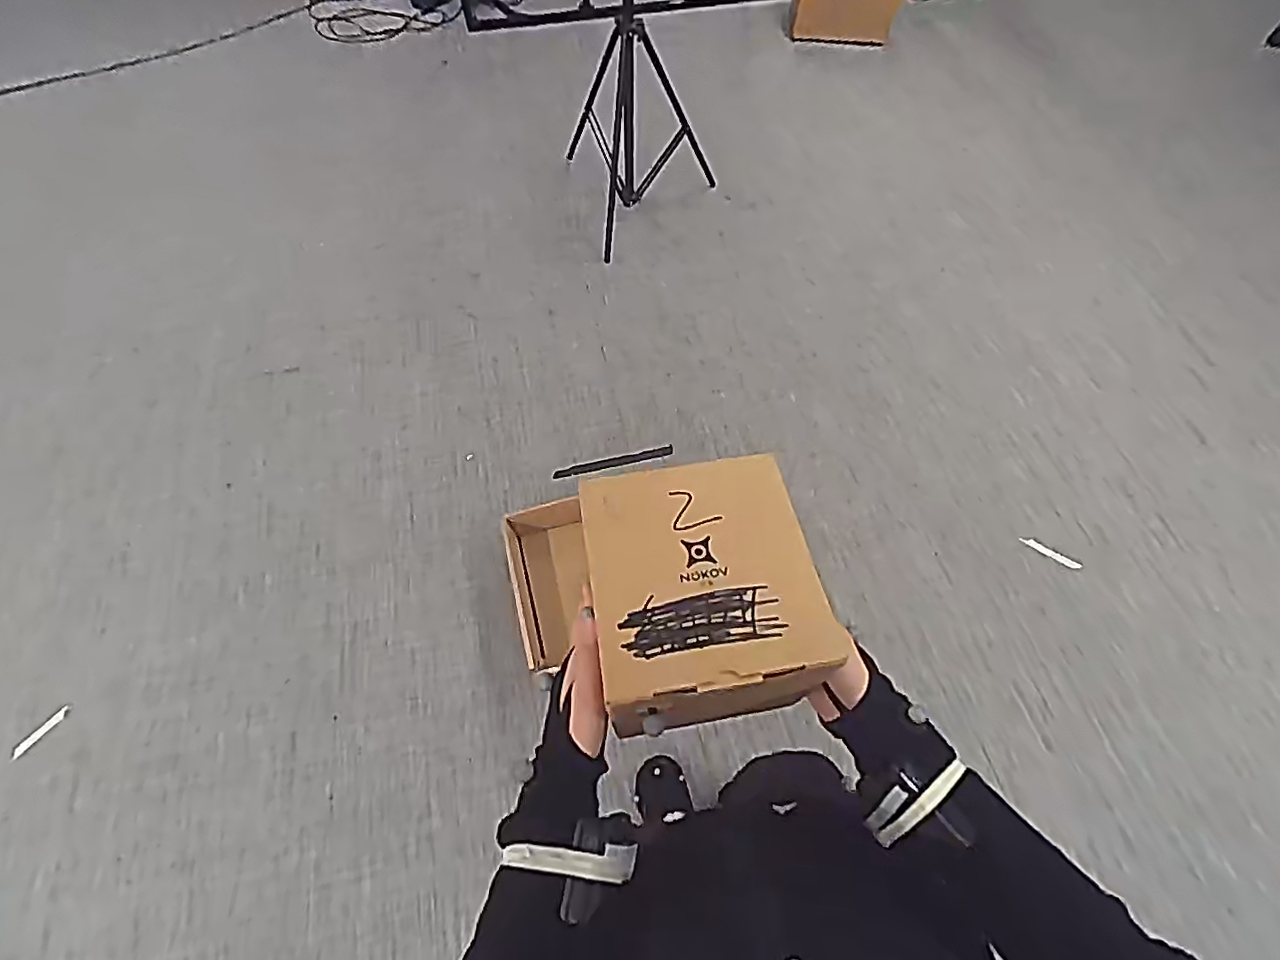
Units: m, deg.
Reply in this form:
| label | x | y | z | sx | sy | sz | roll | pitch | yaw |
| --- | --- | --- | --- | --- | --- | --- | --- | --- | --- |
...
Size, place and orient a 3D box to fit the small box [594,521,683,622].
| label | x | y | z | sx | sy | sz | roll | pitch | yaw |
| --- | --- | --- | --- | --- | --- | --- | --- | --- | --- |
| small box | -0.008 | 0.231 | 1.343 | 0.168 | 0.176 | 0.179 | -20 | 67 | -9 |
